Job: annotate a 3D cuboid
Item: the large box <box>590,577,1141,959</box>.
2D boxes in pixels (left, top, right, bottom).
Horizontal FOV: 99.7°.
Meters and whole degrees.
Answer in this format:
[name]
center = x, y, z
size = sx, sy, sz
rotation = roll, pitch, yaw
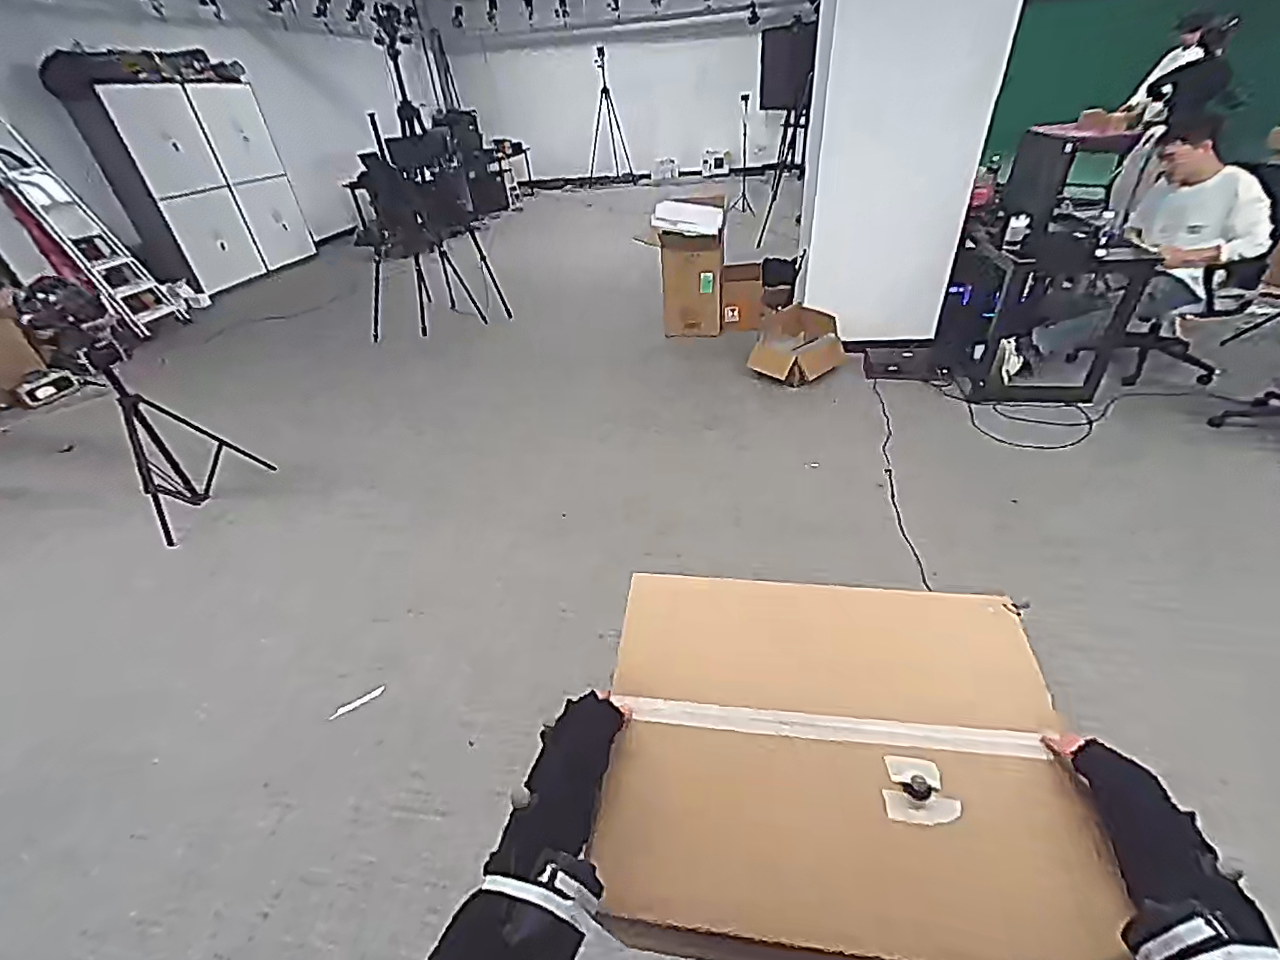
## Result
[large box]
center = 0.180, 0.332, 0.607
size = 0.408, 0.320, 0.320
rotation = 2, 46, 8
